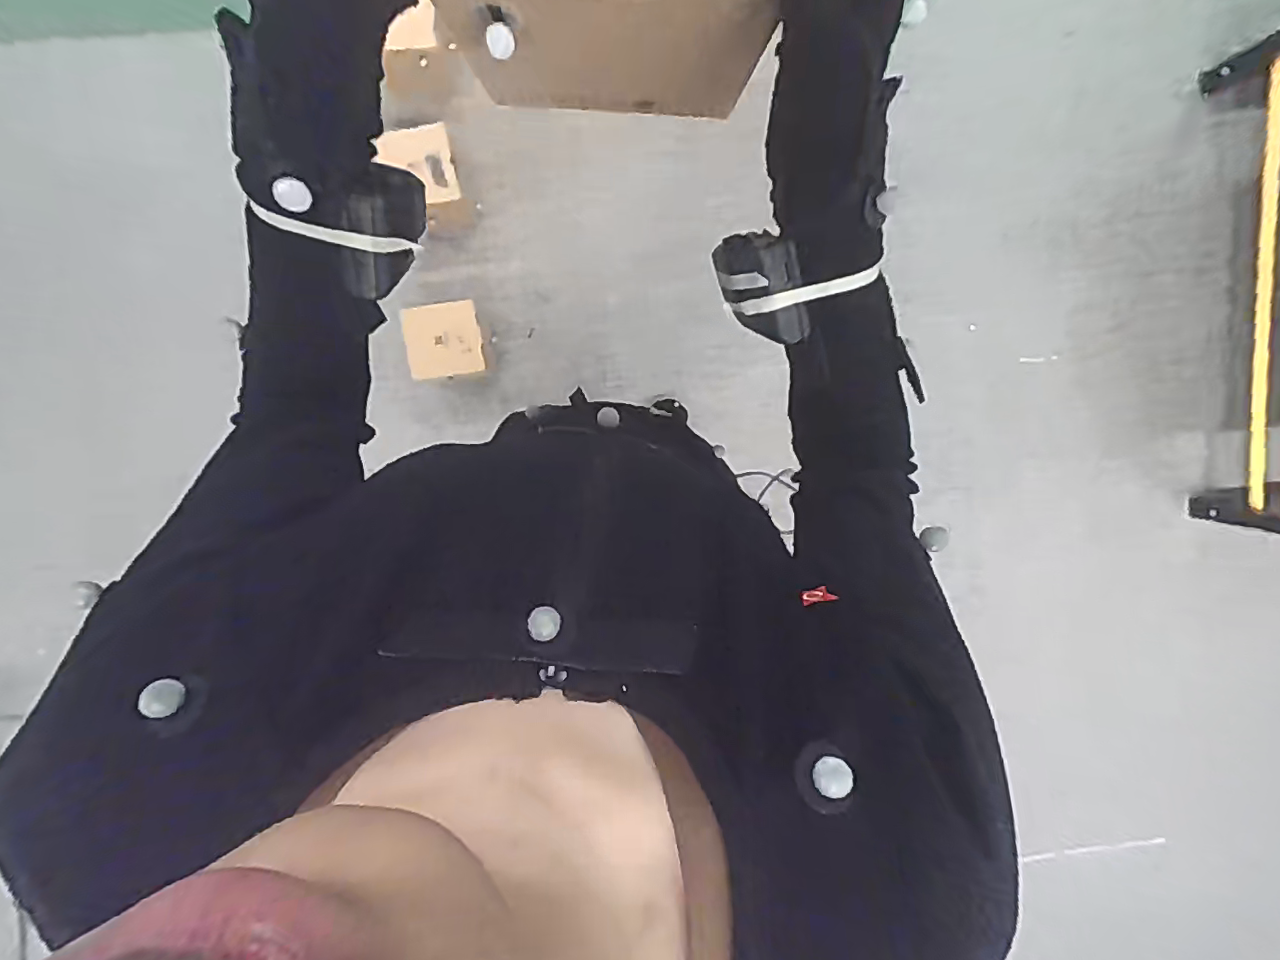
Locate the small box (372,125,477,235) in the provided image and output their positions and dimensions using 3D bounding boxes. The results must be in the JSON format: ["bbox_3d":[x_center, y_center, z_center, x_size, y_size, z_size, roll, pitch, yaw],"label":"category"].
[{"bbox_3d":[-0.500,-0.706,1.289,0.179,0.176,0.168,-11,97,0],"label":"small box"}]

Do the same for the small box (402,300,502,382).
[{"bbox_3d":[-0.457,-0.337,1.336,0.179,0.176,0.168,-9,99,-2],"label":"small box"}]

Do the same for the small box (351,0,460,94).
[{"bbox_3d":[-0.536,-1.025,1.248,0.179,0.176,0.168,-6,98,-2],"label":"small box"}]
